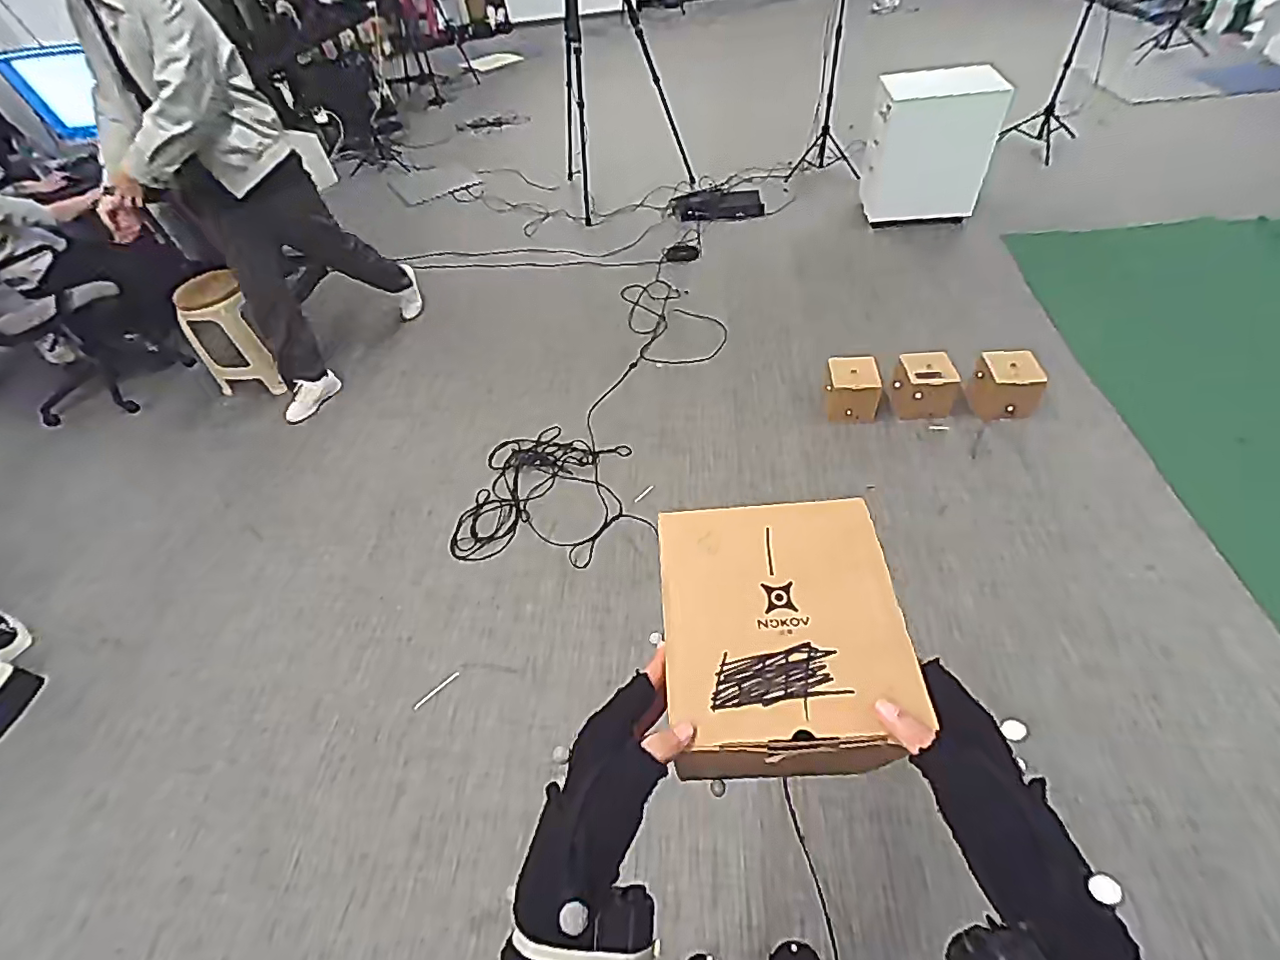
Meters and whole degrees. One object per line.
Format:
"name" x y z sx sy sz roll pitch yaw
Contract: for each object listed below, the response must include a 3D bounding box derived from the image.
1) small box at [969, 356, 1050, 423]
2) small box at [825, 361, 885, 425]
"small box" 1.323 -0.327 1.952 0.168 0.176 0.179 0 50 9
"small box" 0.798 -0.327 2.026 0.168 0.176 0.179 0 50 9
